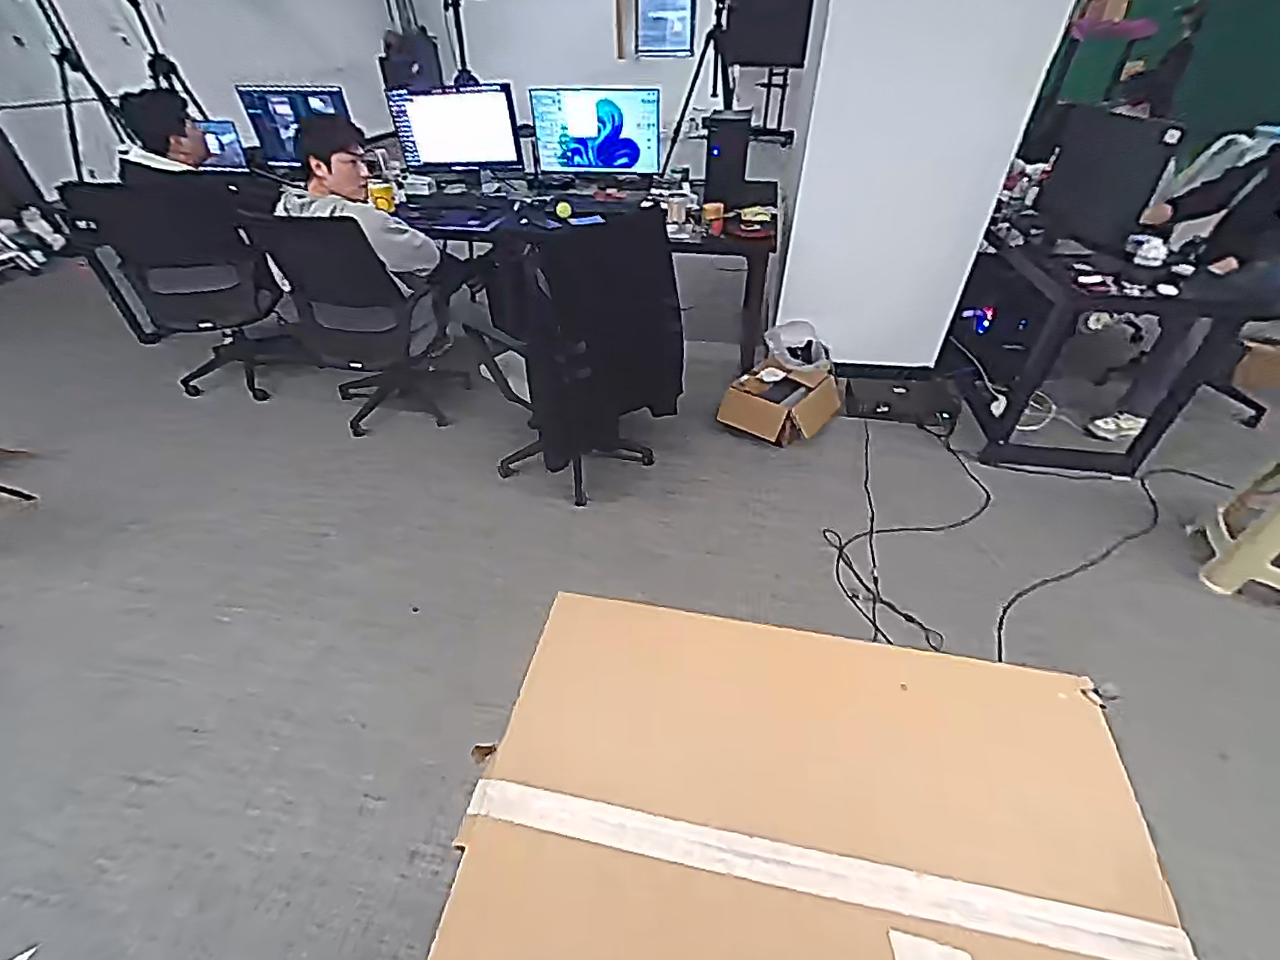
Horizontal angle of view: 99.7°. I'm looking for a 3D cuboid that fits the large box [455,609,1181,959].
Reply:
[{"bbox_3d":[0.105,0.341,0.435,0.408,0.320,0.320,7,48,8],"label":"large box"}]
